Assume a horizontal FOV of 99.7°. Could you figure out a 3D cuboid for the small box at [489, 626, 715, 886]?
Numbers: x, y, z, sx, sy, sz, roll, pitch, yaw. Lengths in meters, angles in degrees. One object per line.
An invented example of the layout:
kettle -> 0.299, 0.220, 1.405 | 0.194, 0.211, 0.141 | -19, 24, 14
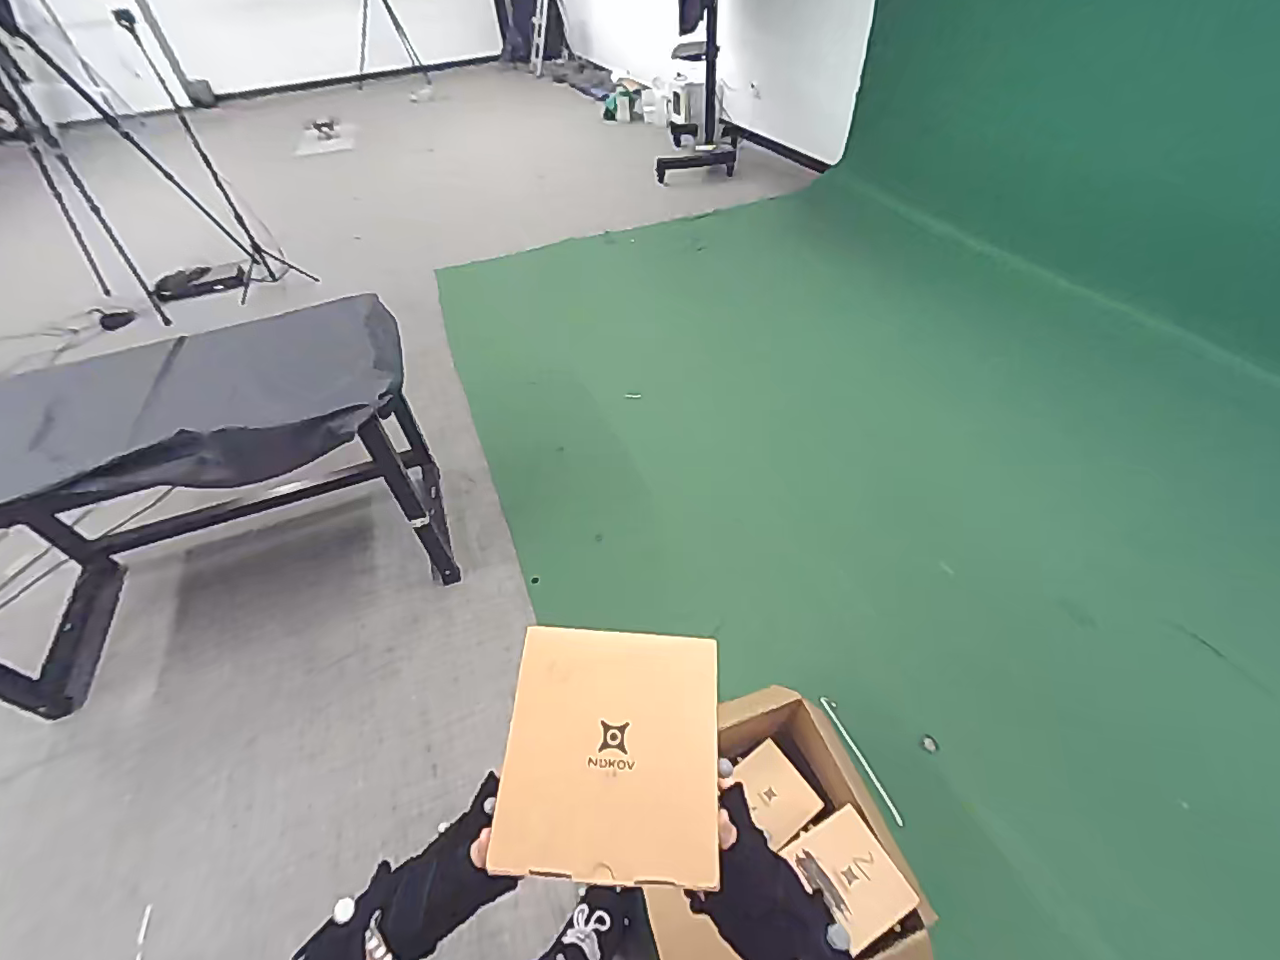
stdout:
small box -> -0.027, 0.250, 0.499 | 0.168, 0.176, 0.179 | 5, 60, 0
